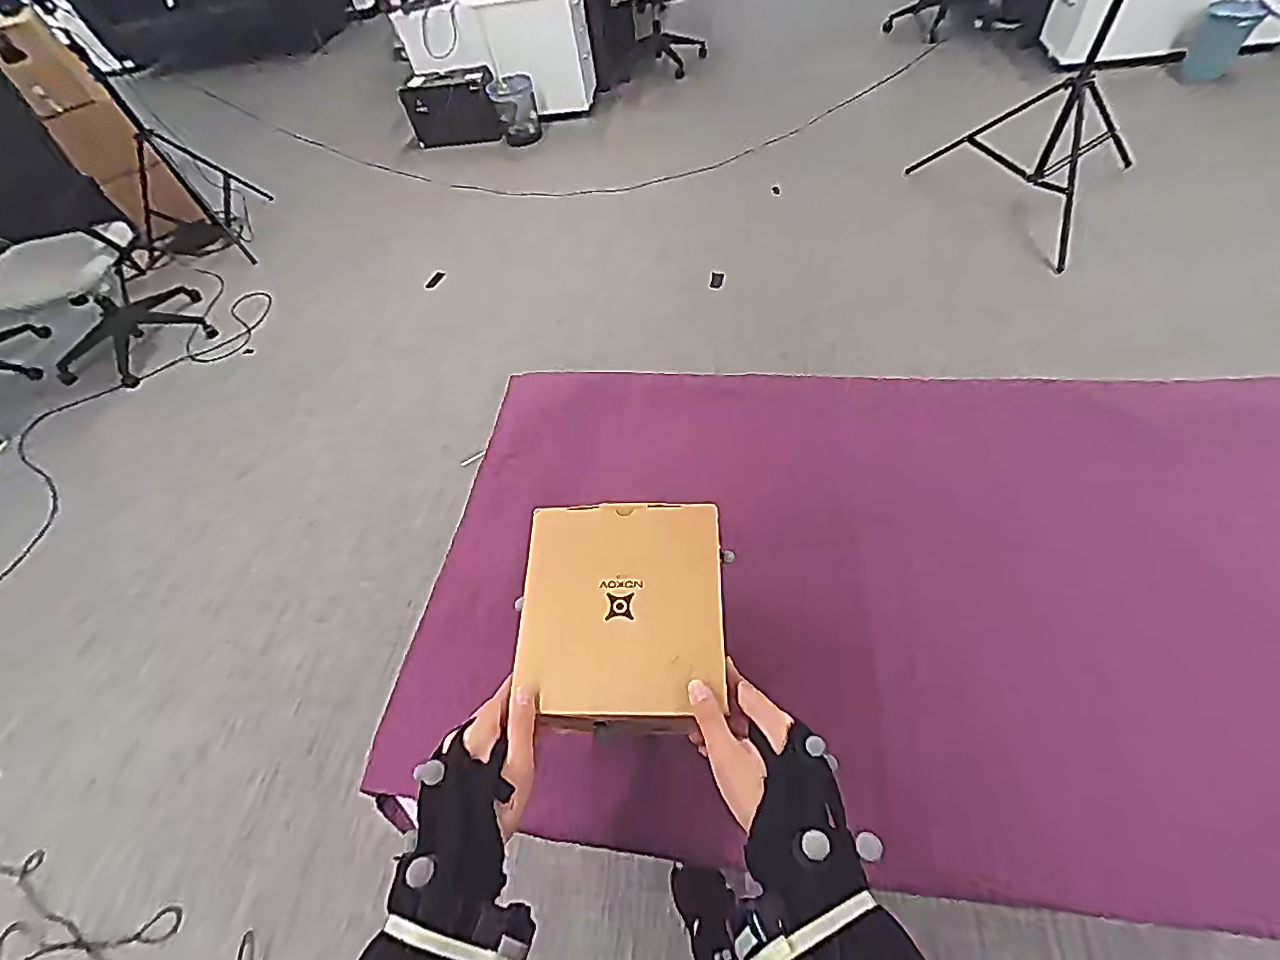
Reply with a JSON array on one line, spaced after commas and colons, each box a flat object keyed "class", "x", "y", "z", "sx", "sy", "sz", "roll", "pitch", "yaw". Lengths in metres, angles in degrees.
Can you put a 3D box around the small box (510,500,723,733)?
[{"class": "small box", "x": -0.008, "y": 0.137, "z": 0.511, "sx": 0.168, "sy": 0.176, "sz": 0.179, "roll": -3, "pitch": 58, "yaw": 5}]
